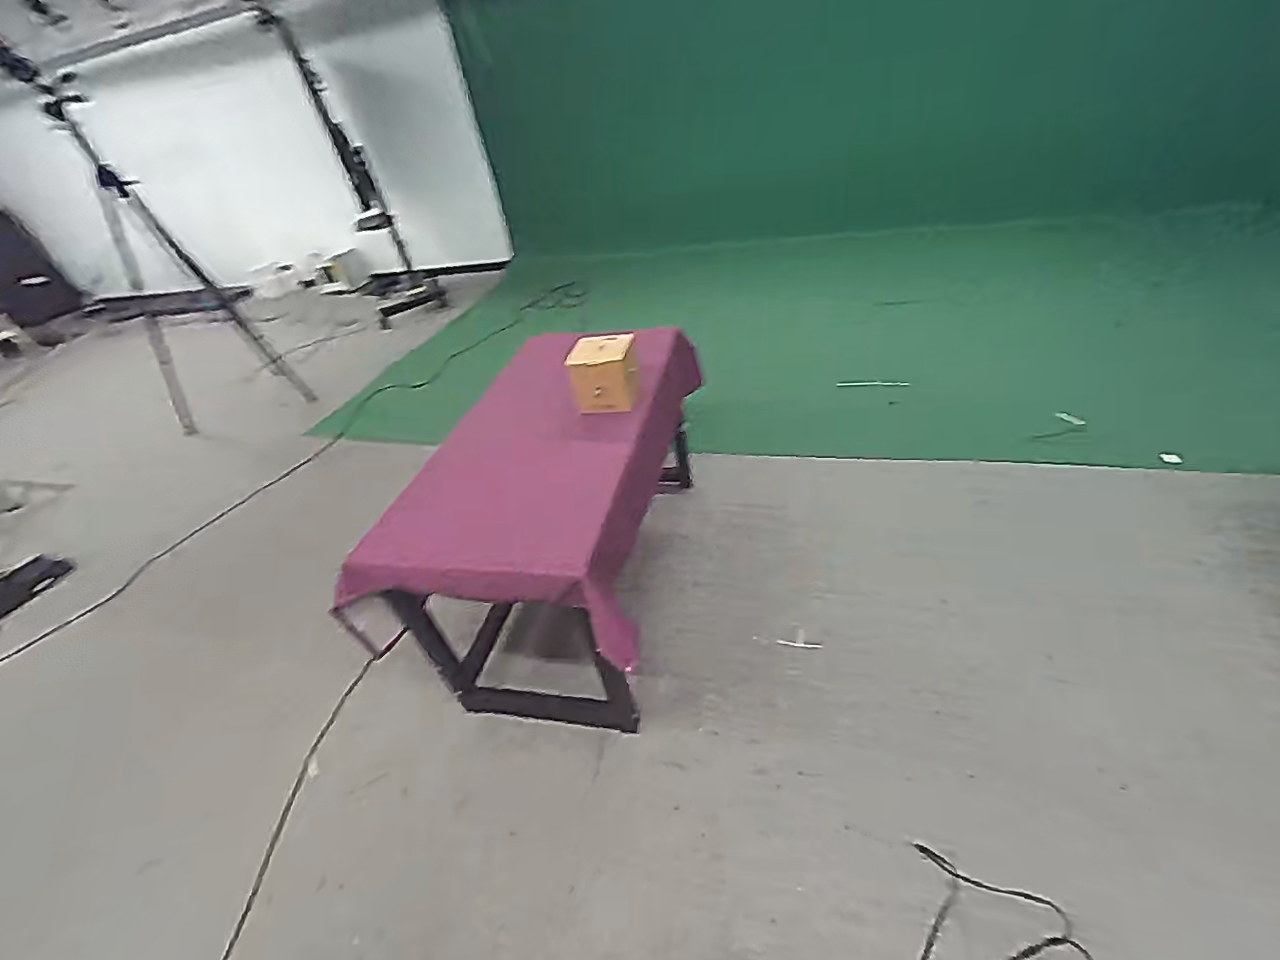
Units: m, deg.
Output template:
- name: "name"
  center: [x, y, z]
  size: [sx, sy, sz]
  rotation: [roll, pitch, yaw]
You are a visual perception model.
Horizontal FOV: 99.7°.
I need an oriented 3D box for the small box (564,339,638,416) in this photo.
- name: "small box"
  center: [-0.109, -0.305, 1.630]
  size: [0.168, 0.176, 0.179]
  rotation: [-1, 40, 15]
